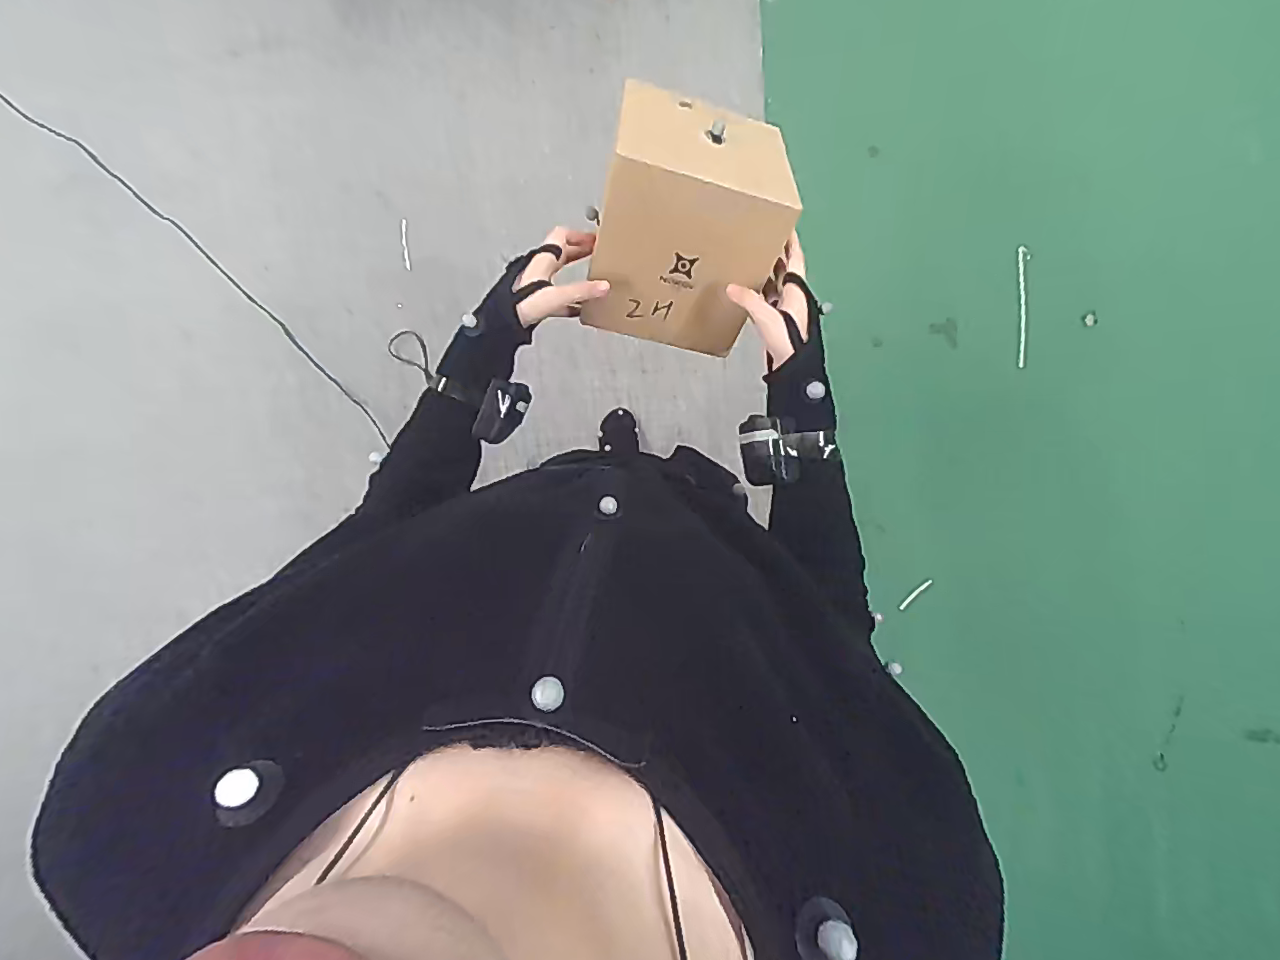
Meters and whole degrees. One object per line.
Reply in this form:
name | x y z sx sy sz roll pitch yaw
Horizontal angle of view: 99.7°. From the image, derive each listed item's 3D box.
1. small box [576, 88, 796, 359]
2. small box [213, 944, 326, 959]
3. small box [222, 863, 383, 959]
small box | 0.035 -0.260 0.557 0.168 0.179 0.176 11 53 -11
small box | -0.574 0.810 0.767 0.179 0.176 0.168 3 95 1
small box | -0.568 0.796 0.928 0.179 0.176 0.168 1 95 0
